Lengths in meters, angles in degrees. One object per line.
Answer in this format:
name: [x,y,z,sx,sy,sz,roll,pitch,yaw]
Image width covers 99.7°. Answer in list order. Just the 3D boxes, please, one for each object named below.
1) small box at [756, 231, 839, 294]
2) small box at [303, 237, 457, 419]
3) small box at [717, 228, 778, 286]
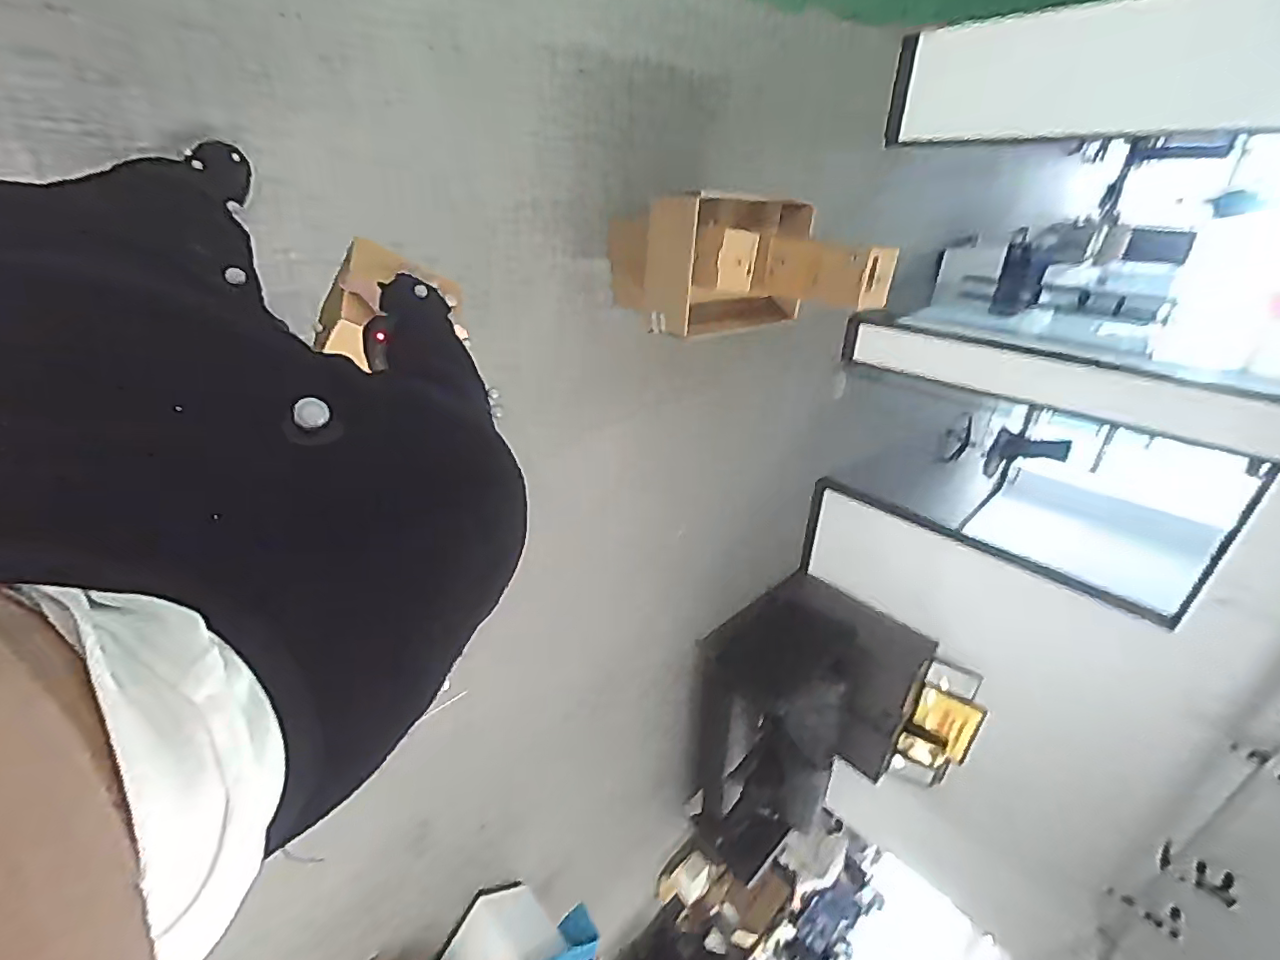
small box: [0.493,-0.691,1.707,0.179,0.176,0.168,-21,127,-37]
small box: [-0.399,-0.222,0.836,0.168,0.179,0.176,19,138,-40]
small box: [0.385,-0.751,1.812,0.179,0.176,0.168,-21,125,-38]
